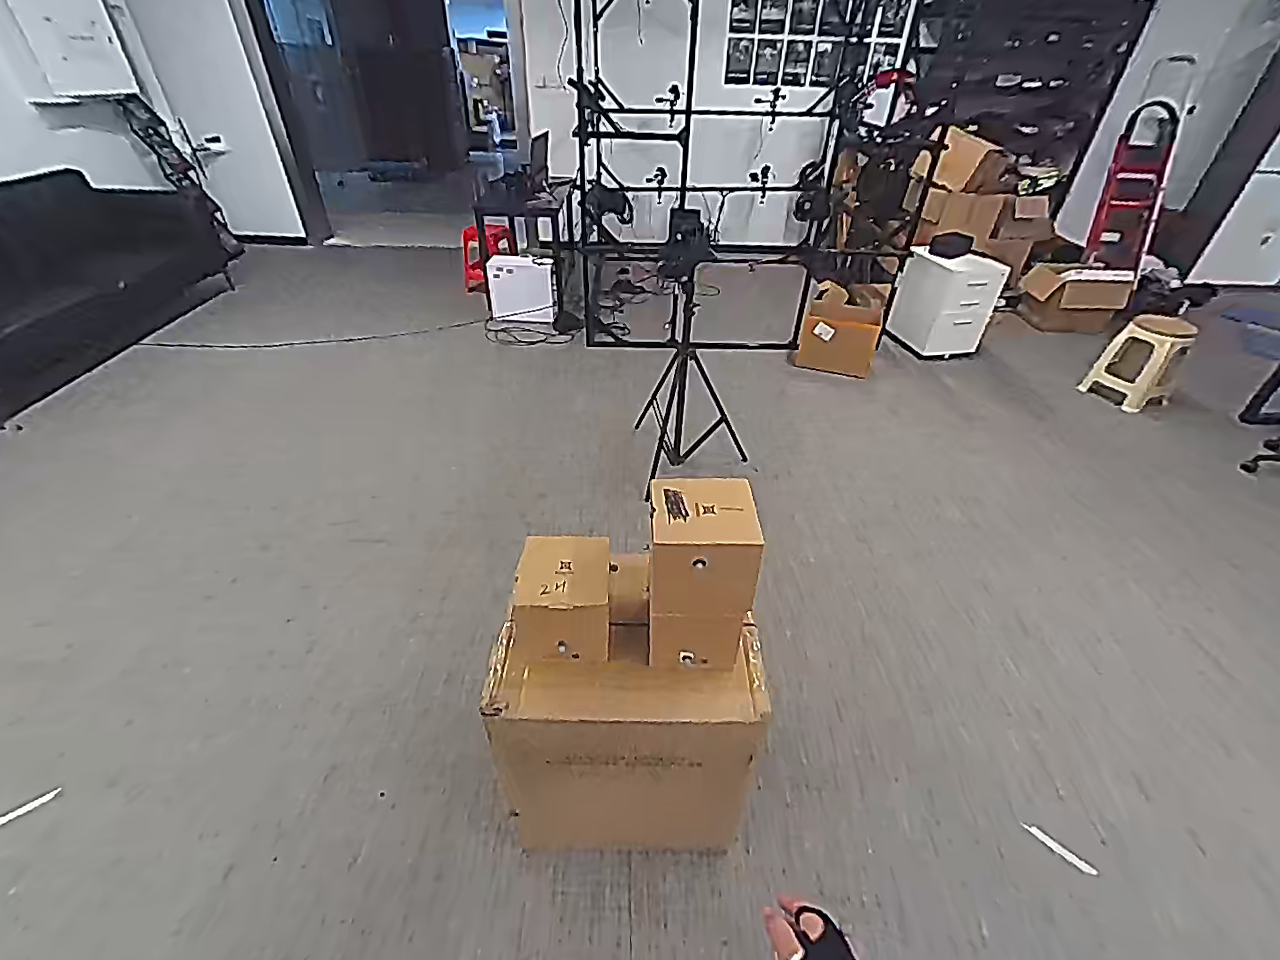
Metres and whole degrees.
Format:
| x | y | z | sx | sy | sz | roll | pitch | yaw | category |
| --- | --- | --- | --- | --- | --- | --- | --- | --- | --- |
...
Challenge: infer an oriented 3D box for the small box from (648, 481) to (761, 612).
| x | y | z | sx | sy | sz | roll | pitch | yaw | category |
| --- | --- | --- | --- | --- | --- | --- | --- | --- | --- |
| 0.104 | 0.117 | 0.949 | 0.179 | 0.176 | 0.168 | 0 | 38 | 0 | small box |

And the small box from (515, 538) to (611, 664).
| x | y | z | sx | sy | sz | roll | pitch | yaw | category |
| --- | --- | --- | --- | --- | --- | --- | --- | --- | --- |
| -0.142 | 0.234 | 1.054 | 0.168 | 0.176 | 0.179 | 1 | 38 | -3 | small box |

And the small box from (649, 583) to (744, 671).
| x | y | z | sx | sy | sz | roll | pitch | yaw | category |
| --- | --- | --- | --- | --- | --- | --- | --- | --- | --- |
| 0.101 | 0.247 | 1.050 | 0.168 | 0.176 | 0.179 | -1 | 39 | 0 | small box |
